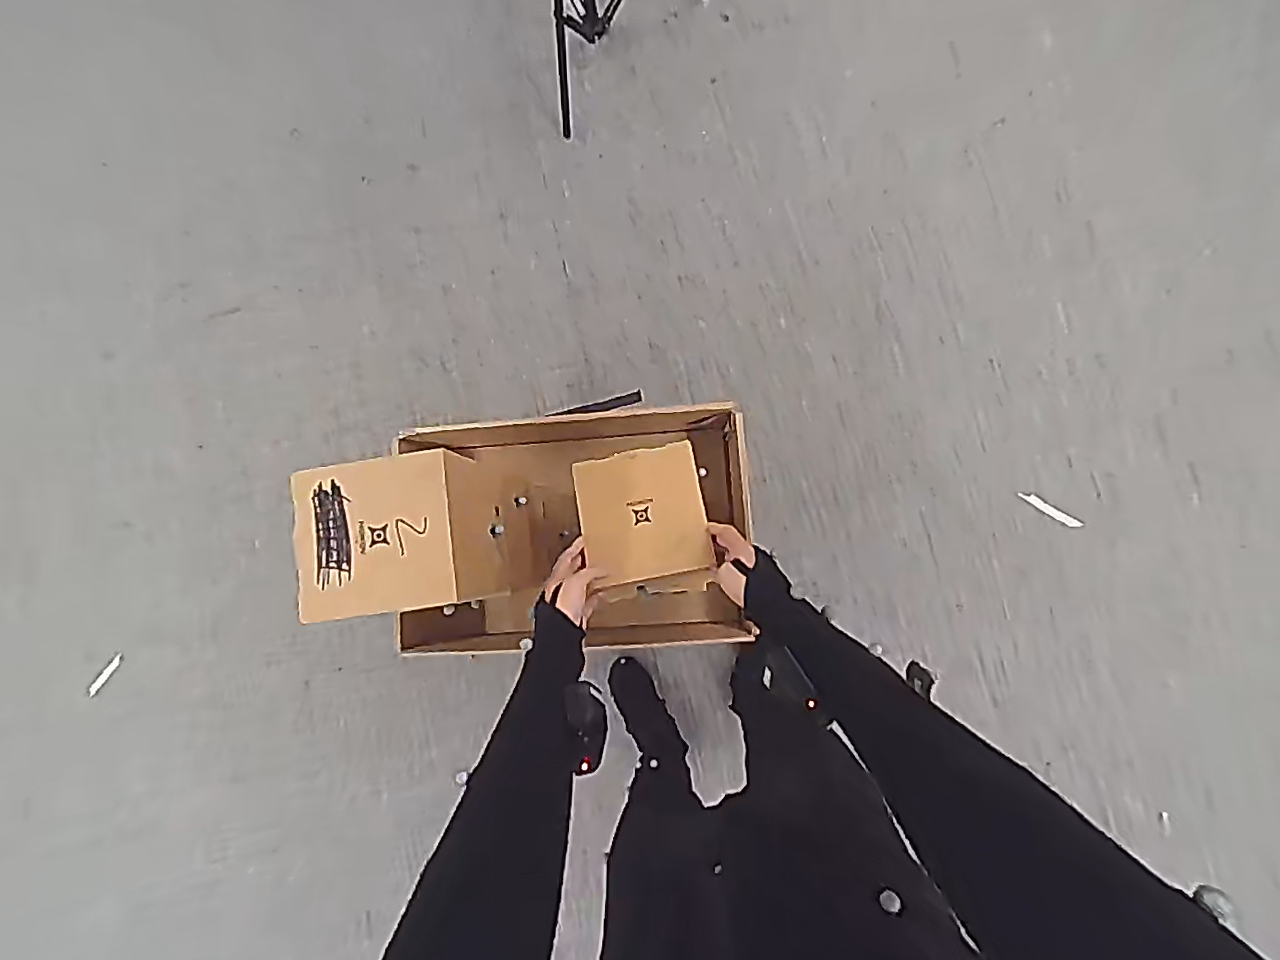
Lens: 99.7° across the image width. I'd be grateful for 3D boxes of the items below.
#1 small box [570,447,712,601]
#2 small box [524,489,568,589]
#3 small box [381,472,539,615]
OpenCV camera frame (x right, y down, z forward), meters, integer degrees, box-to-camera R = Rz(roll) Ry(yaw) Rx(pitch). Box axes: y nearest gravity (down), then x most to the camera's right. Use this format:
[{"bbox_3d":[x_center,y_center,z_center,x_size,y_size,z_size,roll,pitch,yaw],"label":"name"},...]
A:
[{"bbox_3d":[0.006,0.074,0.780,0.168,0.176,0.179,-11,71,2],"label":"small box"},{"bbox_3d":[-0.237,0.114,0.970,0.179,0.176,0.168,-7,83,3],"label":"small box"},{"bbox_3d":[-0.259,0.095,0.808,0.168,0.176,0.179,-10,83,5],"label":"small box"}]
